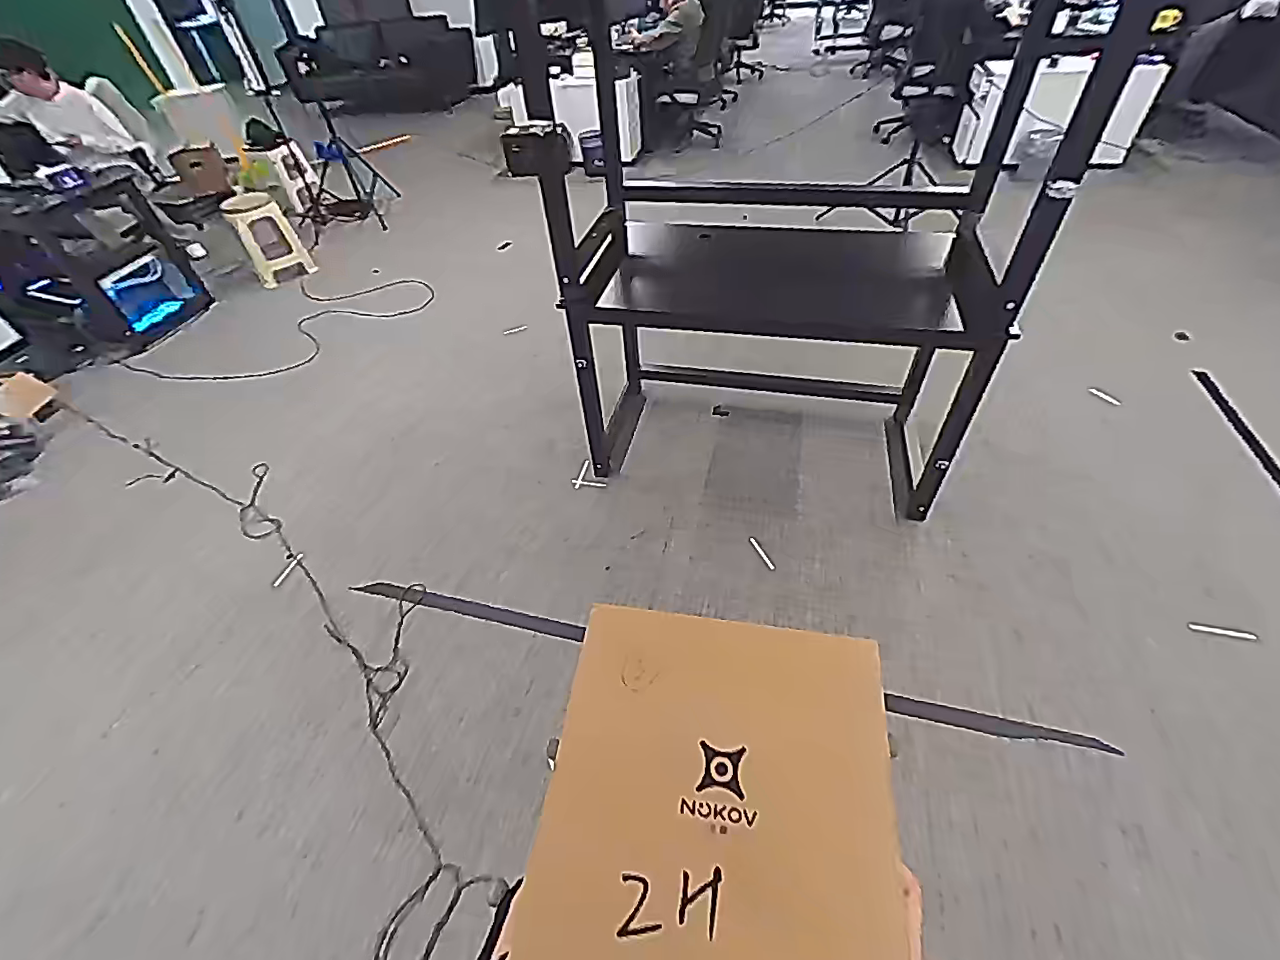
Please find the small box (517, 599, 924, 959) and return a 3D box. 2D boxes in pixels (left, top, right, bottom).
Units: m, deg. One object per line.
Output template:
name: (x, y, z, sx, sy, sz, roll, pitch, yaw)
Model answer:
small box: (0.047, 0.195, 0.321, 0.168, 0.176, 0.179, 6, 53, 9)
